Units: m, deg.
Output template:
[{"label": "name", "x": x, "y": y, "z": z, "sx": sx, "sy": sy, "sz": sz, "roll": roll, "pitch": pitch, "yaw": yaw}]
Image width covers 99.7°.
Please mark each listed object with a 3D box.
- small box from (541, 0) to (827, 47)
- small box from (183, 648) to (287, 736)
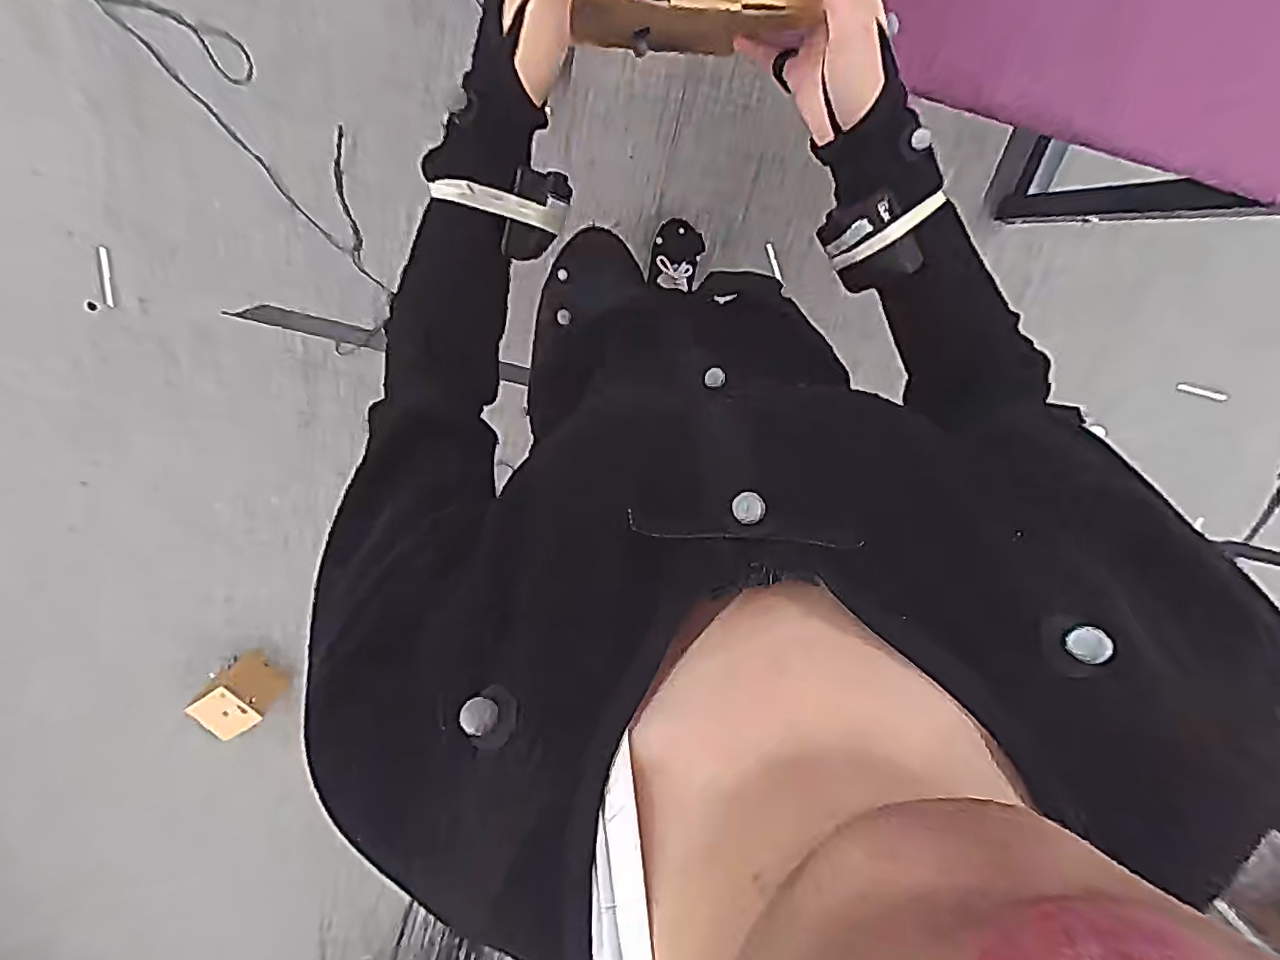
[{"label": "small box", "x": 0.021, "y": -0.399, "z": 0.338, "sx": 0.168, "sy": 0.176, "sz": 0.179, "roll": -6, "pitch": 123, "yaw": -12}, {"label": "small box", "x": -1.307, "y": 0.685, "z": 1.760, "sx": 0.179, "sy": 0.176, "sz": 0.168, "roll": -30, "pitch": 112, "yaw": 11}]
